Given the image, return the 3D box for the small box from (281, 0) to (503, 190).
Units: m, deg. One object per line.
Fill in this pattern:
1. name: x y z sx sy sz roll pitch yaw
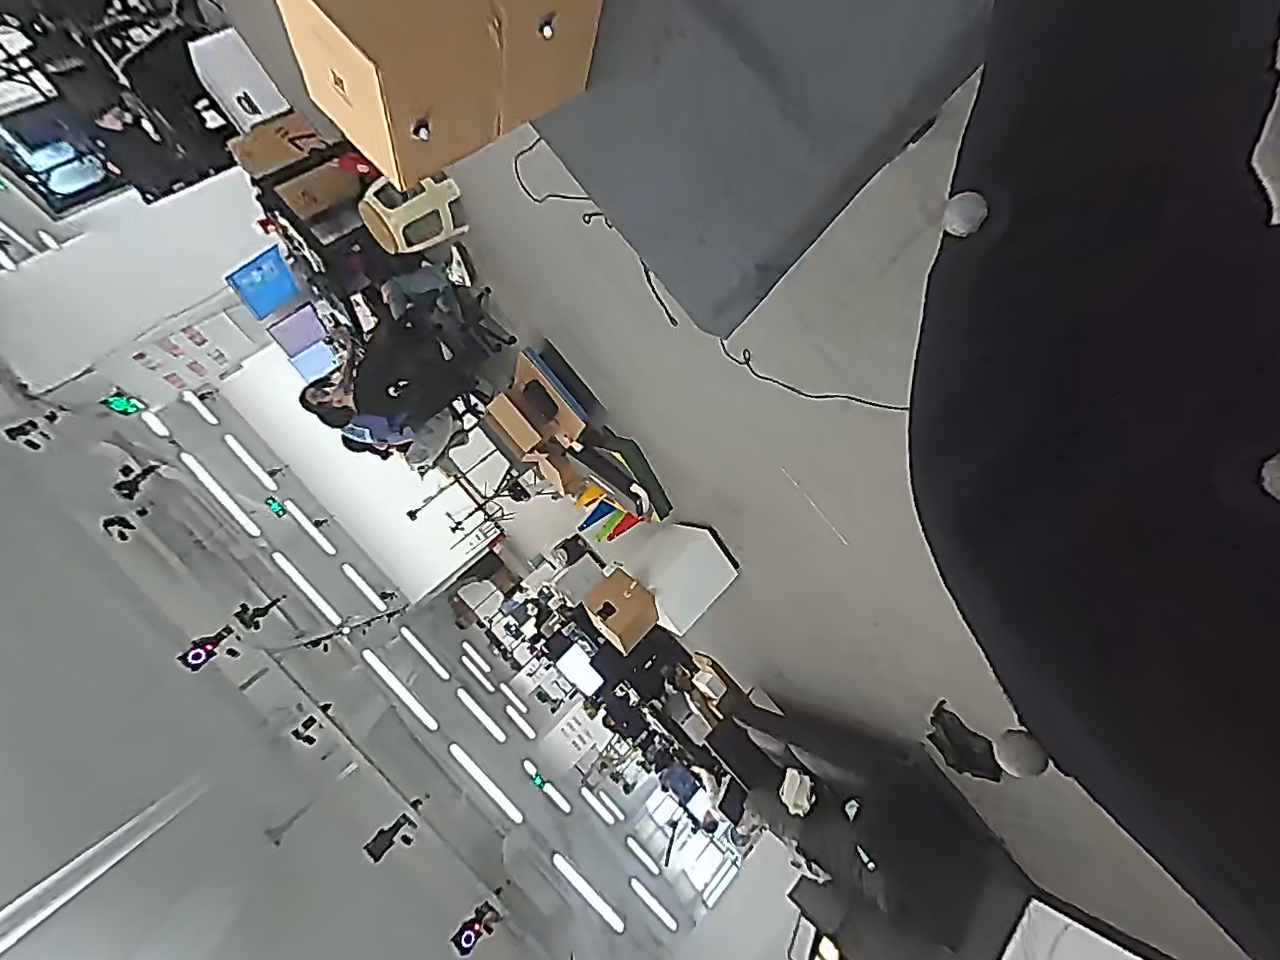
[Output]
1. small box: -0.279 -0.498 0.637 0.168 0.176 0.179 46 159 -1
